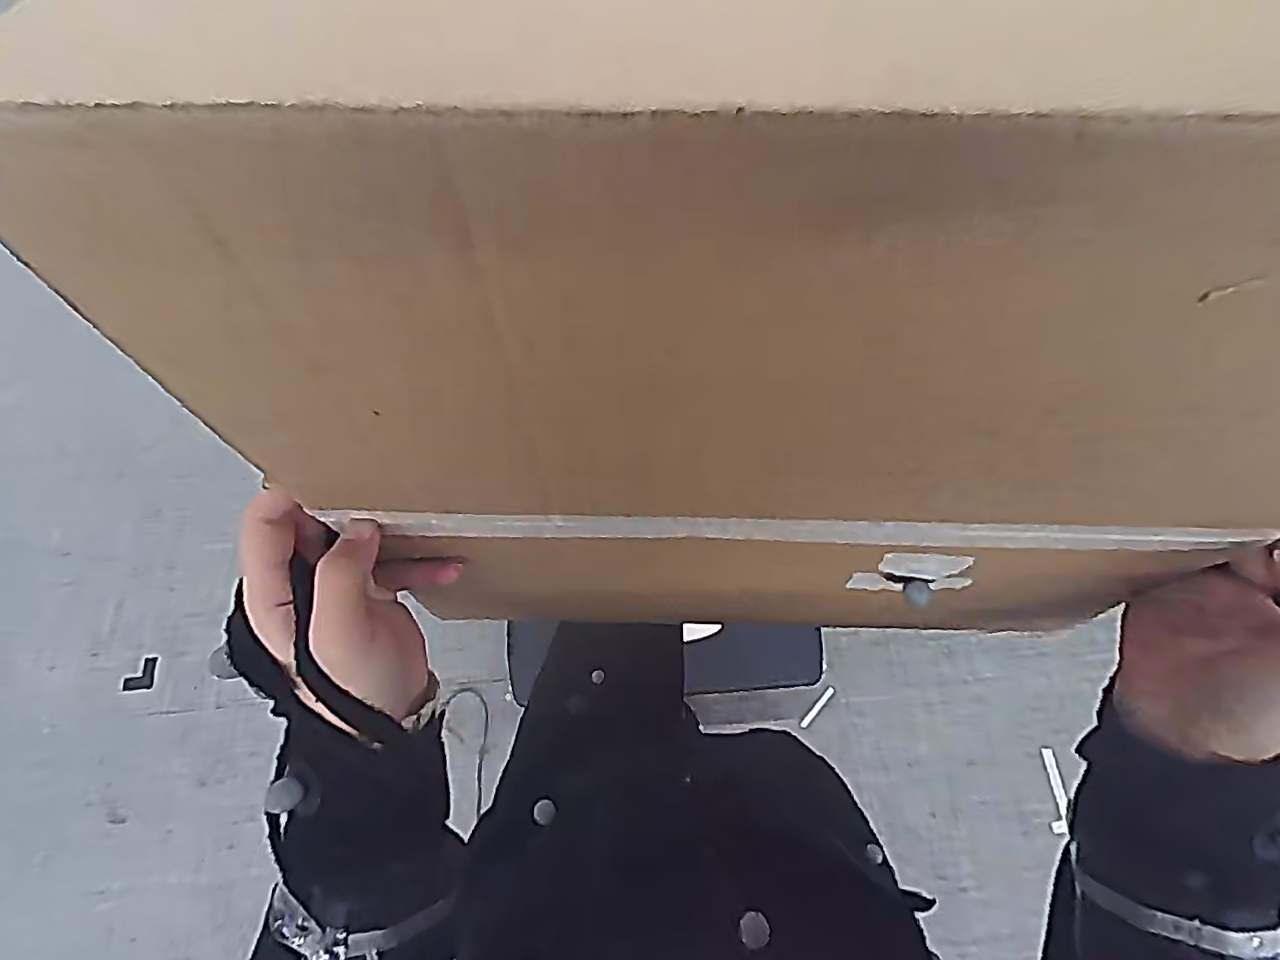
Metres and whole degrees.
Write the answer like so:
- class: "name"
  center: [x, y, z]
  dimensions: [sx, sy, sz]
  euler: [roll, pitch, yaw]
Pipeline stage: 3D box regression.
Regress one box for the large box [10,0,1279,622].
- class: "large box"
  center: [0.062, -0.112, 0.313]
  dimensions: [0.408, 0.320, 0.320]
  euler: [0, 60, 1]
